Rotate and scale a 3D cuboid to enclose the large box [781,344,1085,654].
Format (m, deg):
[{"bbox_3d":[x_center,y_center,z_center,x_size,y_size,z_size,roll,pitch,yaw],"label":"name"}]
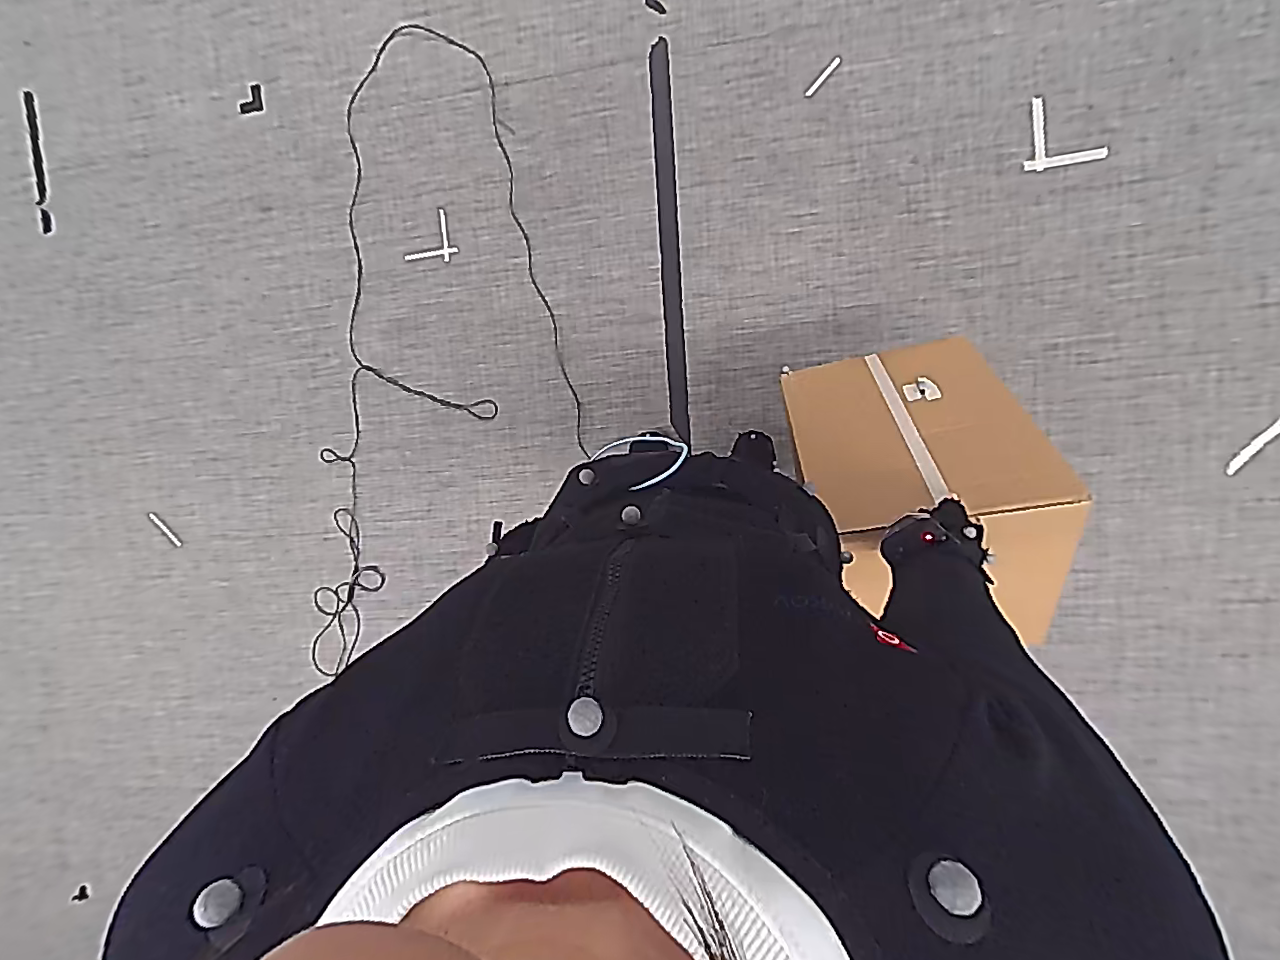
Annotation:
[{"bbox_3d":[0.441,0.027,0.918,0.320,0.408,0.320,-9,129,12],"label":"large box"}]
